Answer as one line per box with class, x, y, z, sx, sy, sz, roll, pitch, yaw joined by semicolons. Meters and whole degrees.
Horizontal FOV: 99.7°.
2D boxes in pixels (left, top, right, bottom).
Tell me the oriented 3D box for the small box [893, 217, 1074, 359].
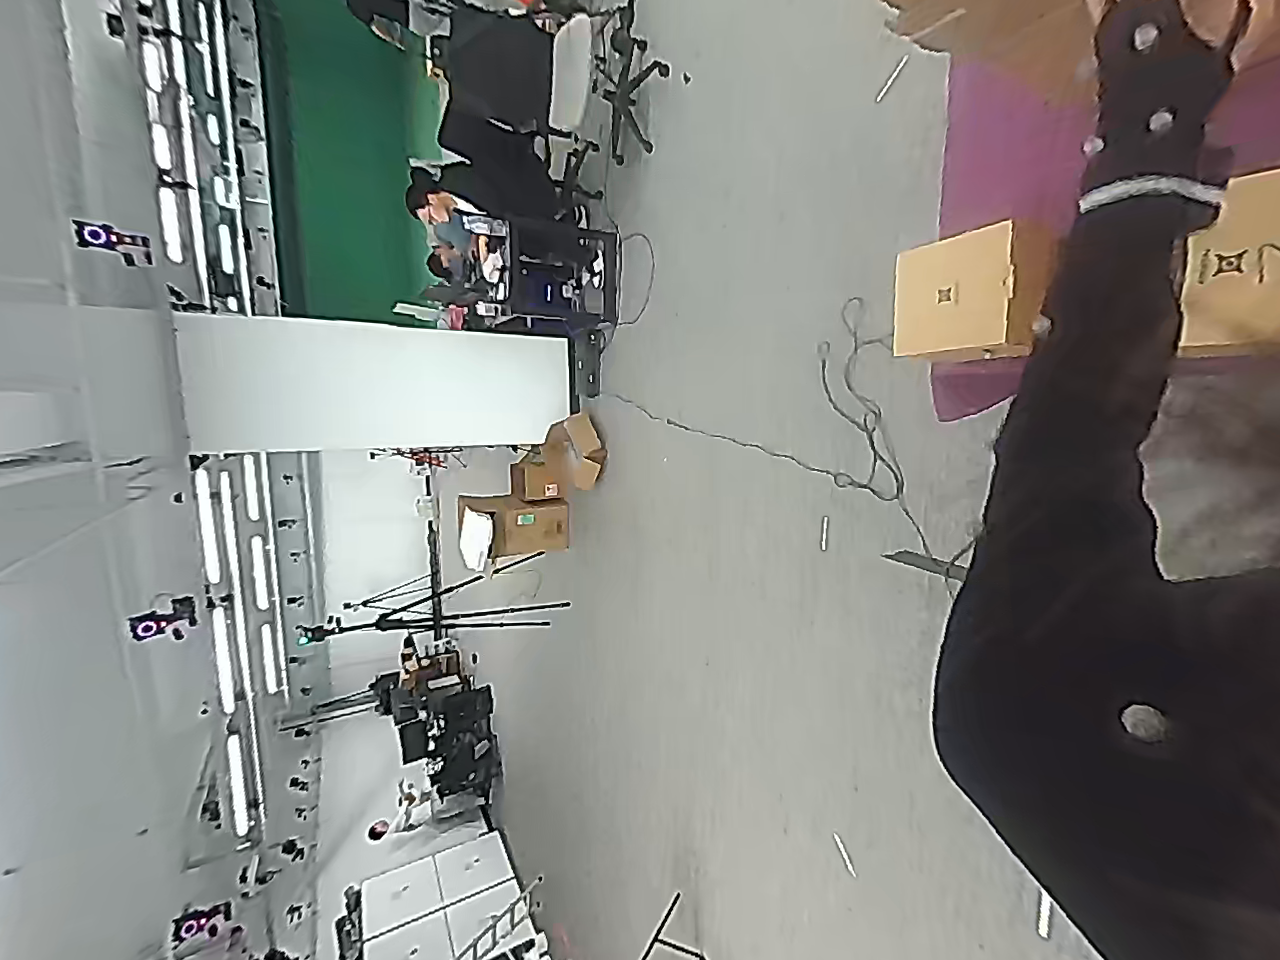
small box;0.526;-0.282;0.839;0.179;0.176;0.168;10;102;59
